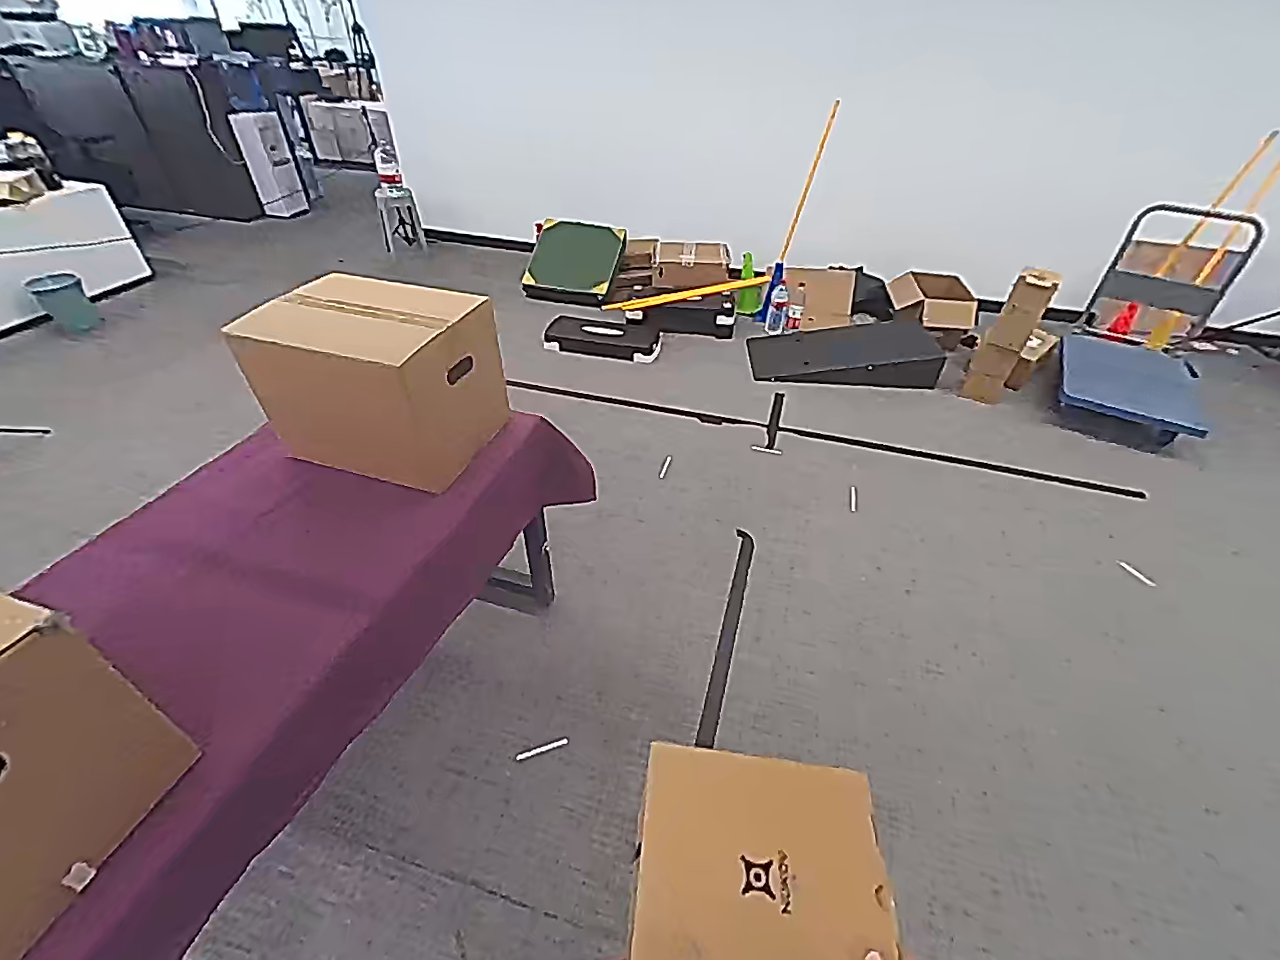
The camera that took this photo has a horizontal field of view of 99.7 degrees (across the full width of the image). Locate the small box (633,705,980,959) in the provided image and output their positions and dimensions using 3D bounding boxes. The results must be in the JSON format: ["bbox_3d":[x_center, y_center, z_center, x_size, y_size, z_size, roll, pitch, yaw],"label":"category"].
[{"bbox_3d":[0.103,0.305,0.397,0.168,0.176,0.179,21,22,-10],"label":"small box"}]
